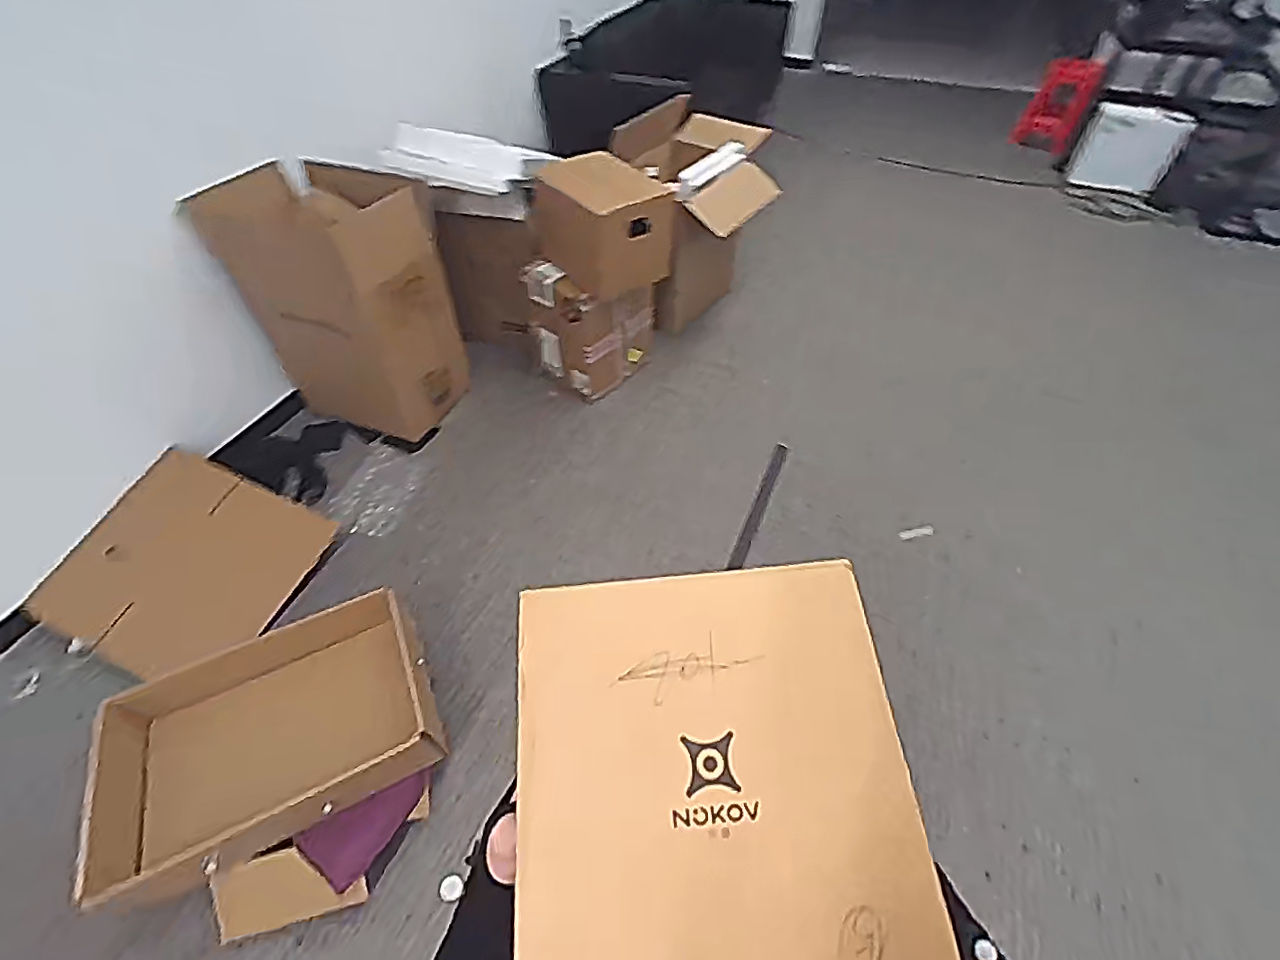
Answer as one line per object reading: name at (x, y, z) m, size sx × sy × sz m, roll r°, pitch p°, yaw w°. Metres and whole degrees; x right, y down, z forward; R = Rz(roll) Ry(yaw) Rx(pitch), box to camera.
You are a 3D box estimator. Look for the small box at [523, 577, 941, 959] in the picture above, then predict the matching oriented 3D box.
small box at (0.033, 0.168, 0.311) m, size 0.168 × 0.176 × 0.179 m, roll -4°, pitch 62°, yaw -1°
